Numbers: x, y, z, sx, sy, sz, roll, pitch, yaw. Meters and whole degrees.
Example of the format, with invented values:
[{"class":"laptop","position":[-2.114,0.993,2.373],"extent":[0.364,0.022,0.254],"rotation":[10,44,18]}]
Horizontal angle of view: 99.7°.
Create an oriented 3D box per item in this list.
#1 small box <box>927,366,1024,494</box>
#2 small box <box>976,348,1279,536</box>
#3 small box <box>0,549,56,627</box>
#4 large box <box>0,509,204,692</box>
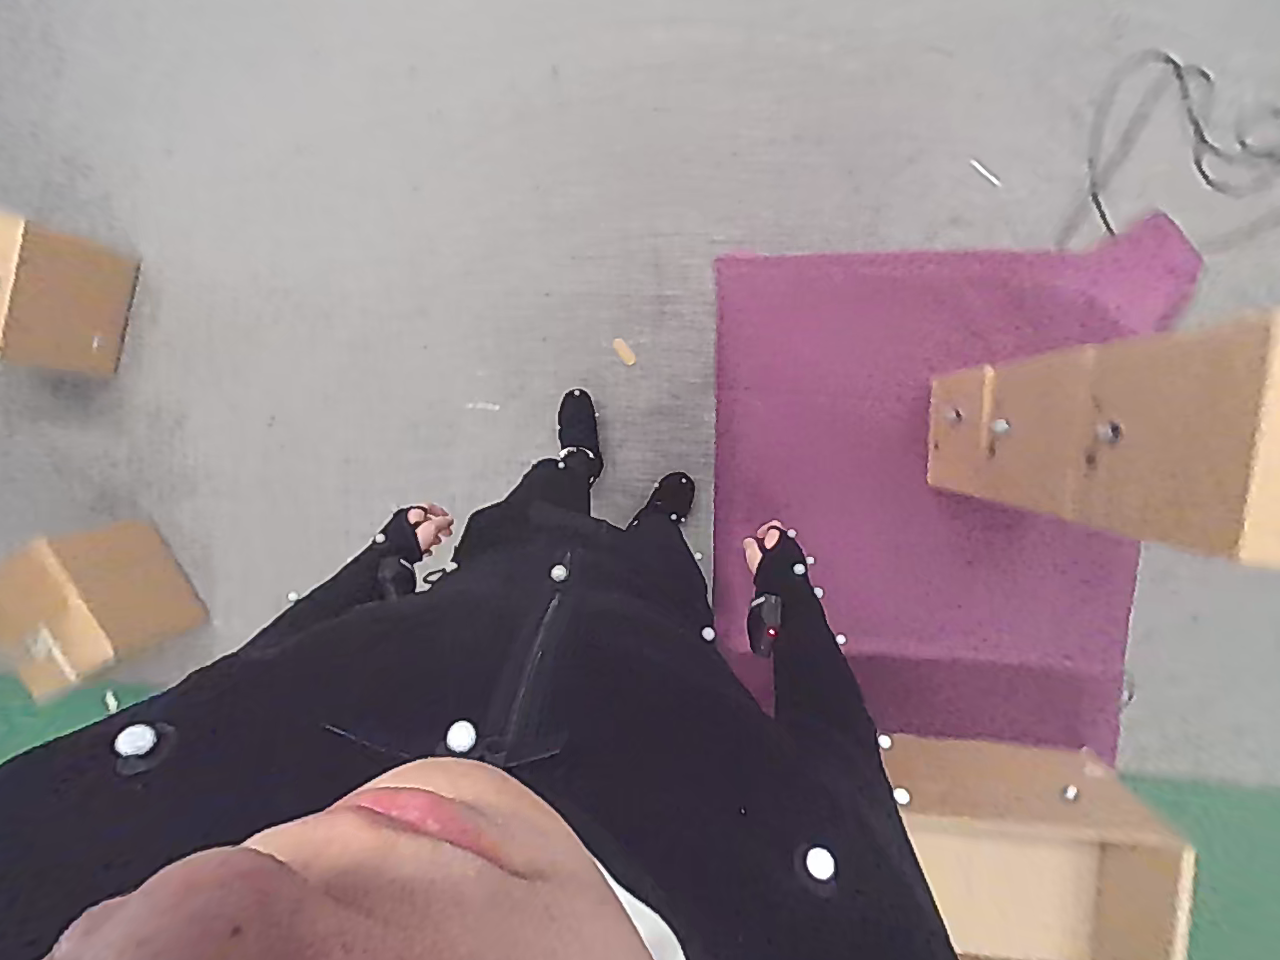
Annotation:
[{"class":"small box","position":[0.522,-0.065,0.749],"extent":[0.179,0.176,0.168],"rotation":[1,95,5]},{"class":"small box","position":[0.508,-0.044,0.586],"extent":[0.179,0.176,0.168],"rotation":[5,96,5]},{"class":"small box","position":[-1.726,0.296,1.419],"extent":[0.168,0.176,0.179],"rotation":[-31,92,7]},{"class":"large box","position":[-1.693,0.351,1.670],"extent":[0.320,0.320,0.408],"rotation":[-30,93,9]}]
